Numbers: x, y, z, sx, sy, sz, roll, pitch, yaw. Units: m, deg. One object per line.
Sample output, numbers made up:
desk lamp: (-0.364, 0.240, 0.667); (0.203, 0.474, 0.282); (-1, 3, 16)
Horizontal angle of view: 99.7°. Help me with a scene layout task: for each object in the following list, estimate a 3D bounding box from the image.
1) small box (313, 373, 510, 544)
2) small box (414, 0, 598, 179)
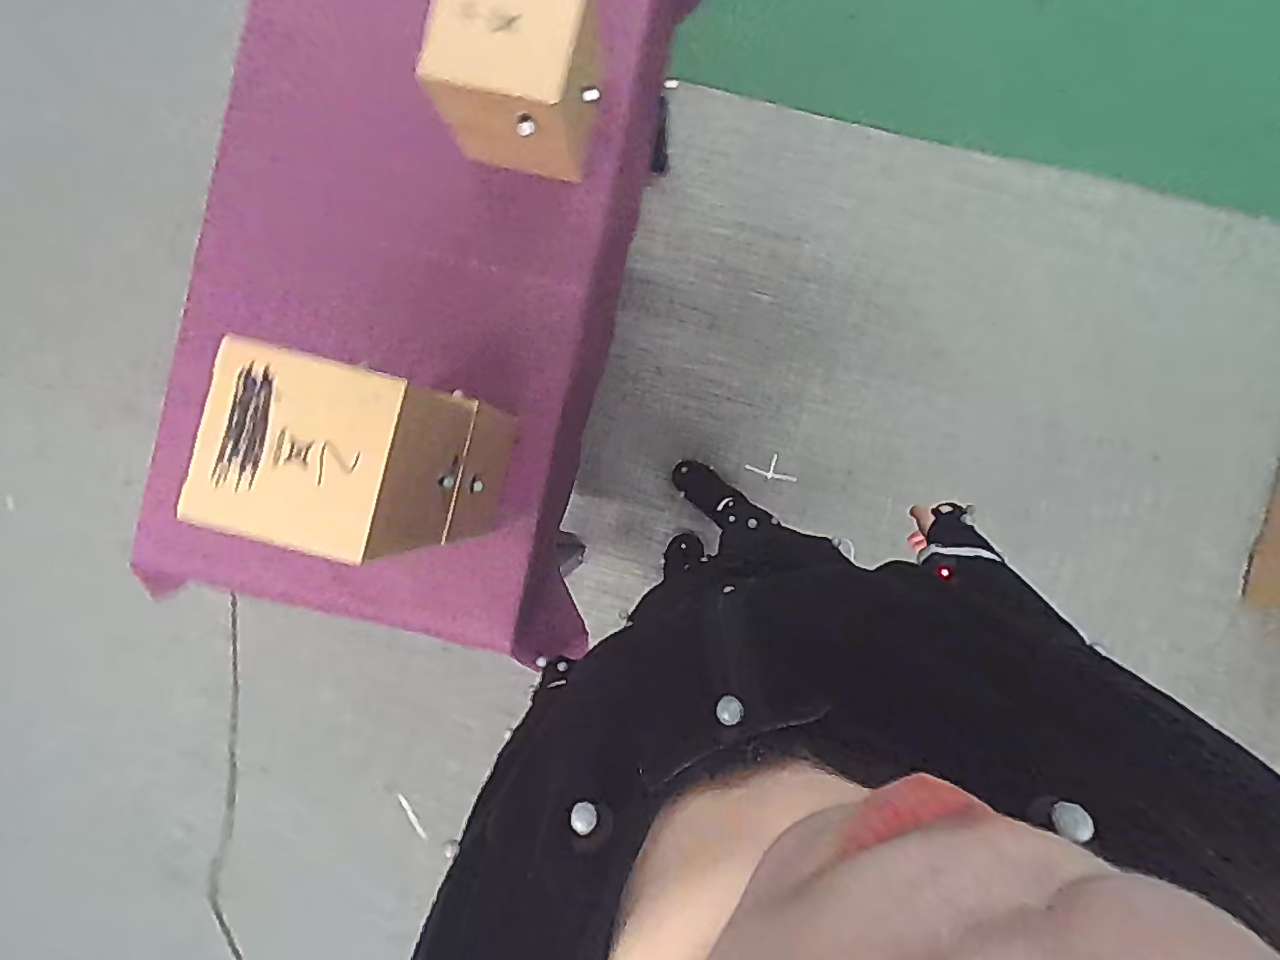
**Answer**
small box: (-0.287, -0.025, 0.718); (0.168, 0.176, 0.179); (13, 89, 3)
small box: (-0.162, -0.534, 0.716); (0.179, 0.176, 0.168); (14, 90, 3)
